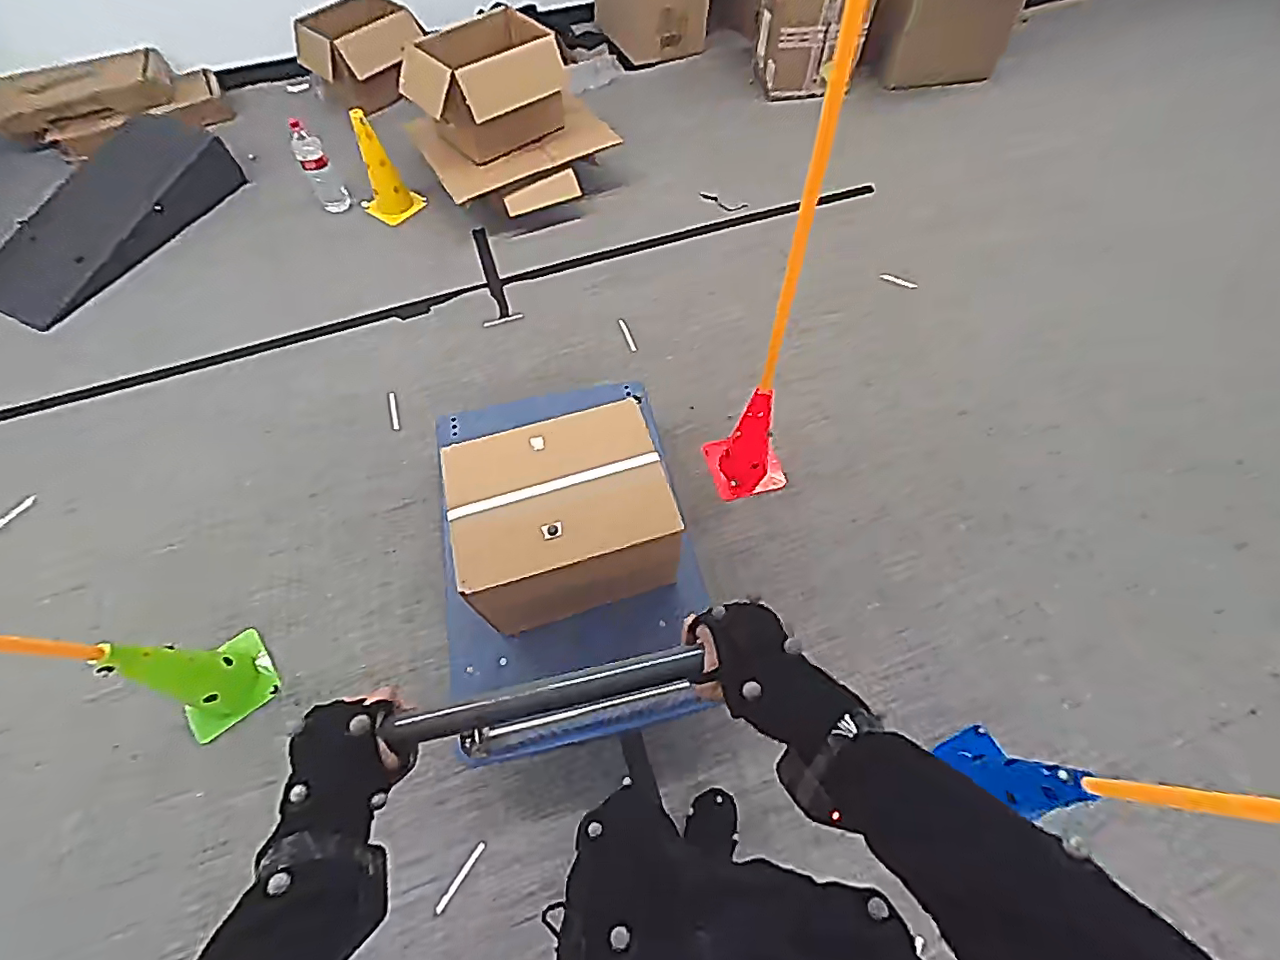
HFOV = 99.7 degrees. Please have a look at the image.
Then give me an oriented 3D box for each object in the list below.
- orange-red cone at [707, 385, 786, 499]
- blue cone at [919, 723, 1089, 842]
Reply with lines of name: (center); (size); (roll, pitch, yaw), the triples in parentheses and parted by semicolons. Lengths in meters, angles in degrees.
orange-red cone: (0.308, -0.127, 1.436); (0.199, 0.360, 0.198); (-12, 61, -6)
blue cone: (0.730, 0.579, 1.043); (0.193, 0.380, 0.192); (-21, 61, -11)
